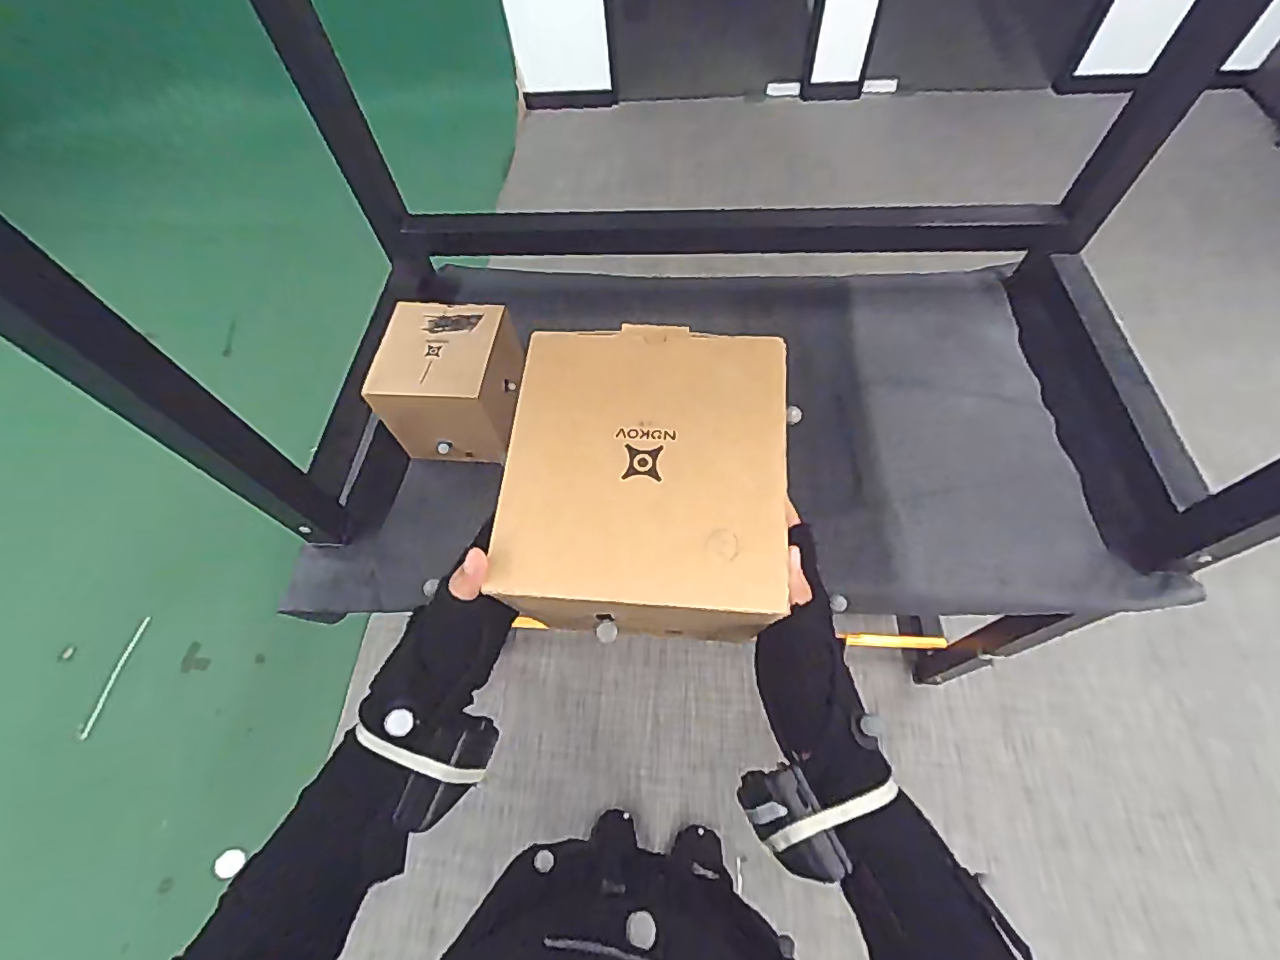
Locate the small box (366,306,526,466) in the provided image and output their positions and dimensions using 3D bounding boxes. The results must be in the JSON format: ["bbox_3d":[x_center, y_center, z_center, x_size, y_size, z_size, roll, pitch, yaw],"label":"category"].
[{"bbox_3d":[-0.279,-0.142,0.831,0.168,0.176,0.179,3,61,5],"label":"small box"}]

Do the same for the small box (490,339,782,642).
[{"bbox_3d":[0.008,0.019,0.397,0.168,0.176,0.179,2,67,5],"label":"small box"}]
